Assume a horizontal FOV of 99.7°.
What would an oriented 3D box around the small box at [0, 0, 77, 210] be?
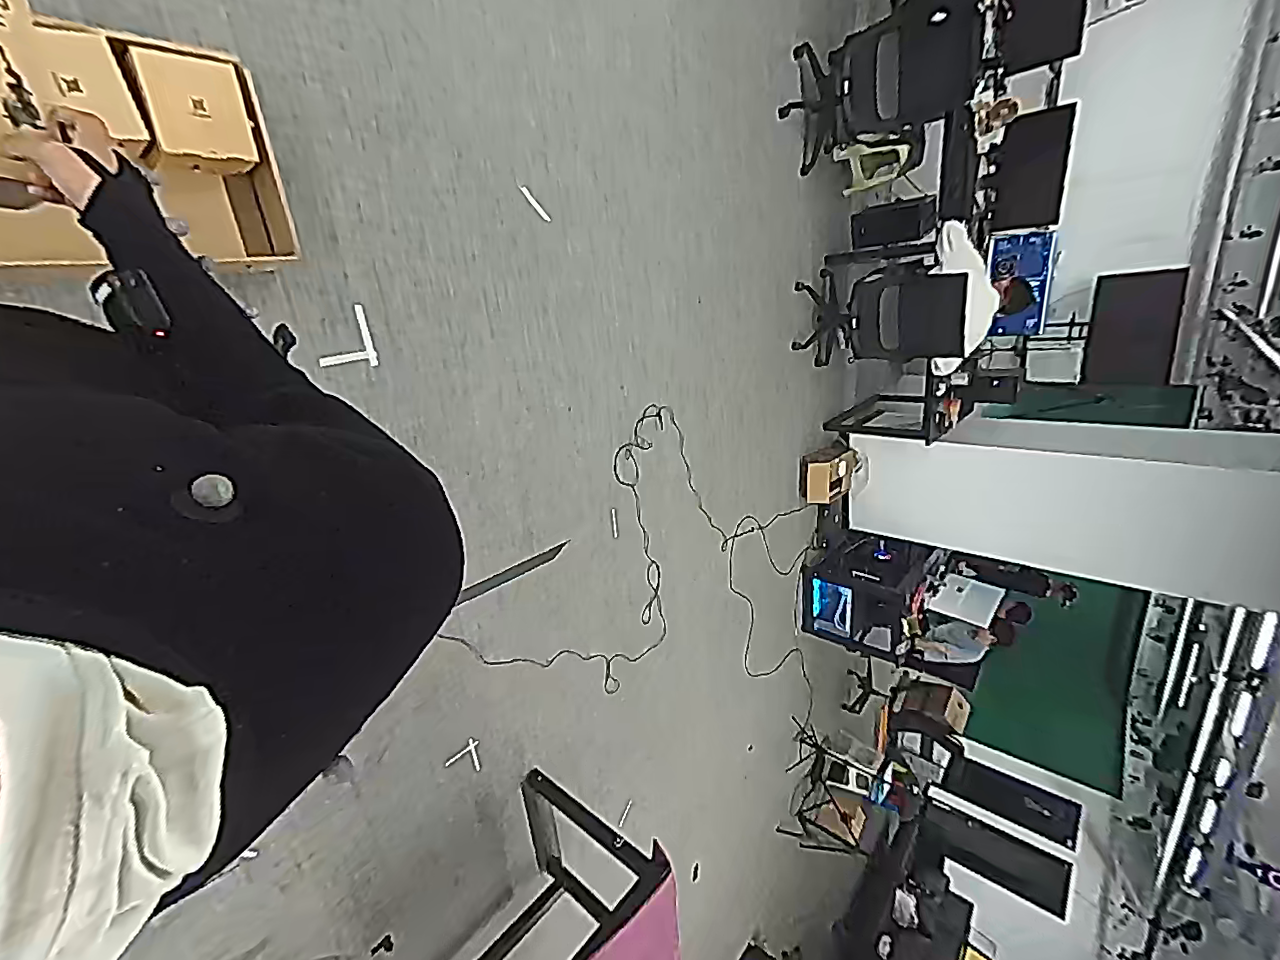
[{"bbox_3d":[-0.643,-0.341,0.462,0.179,0.176,0.168,-22,117,-54],"label":"small box"}]
